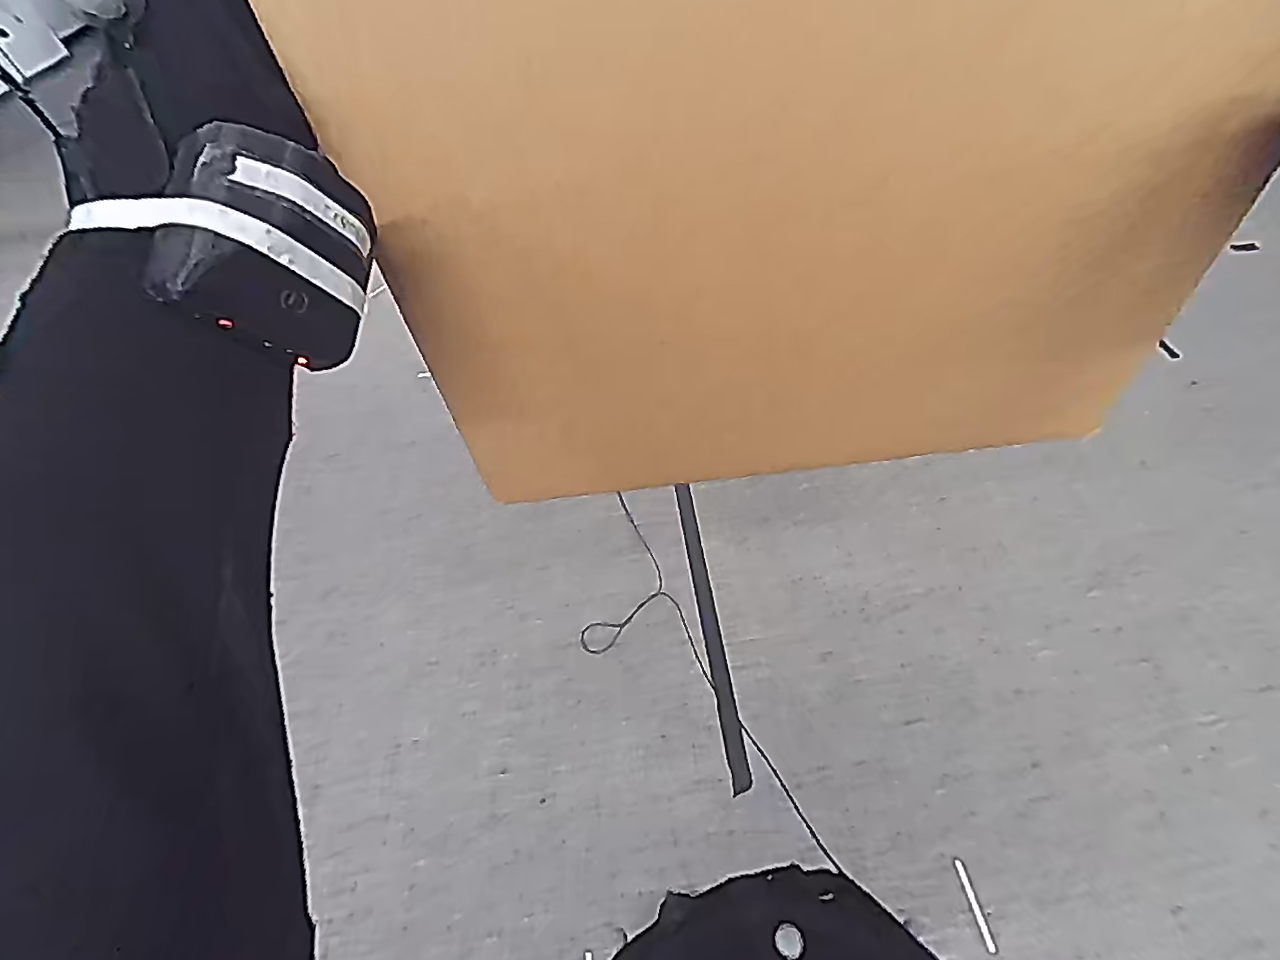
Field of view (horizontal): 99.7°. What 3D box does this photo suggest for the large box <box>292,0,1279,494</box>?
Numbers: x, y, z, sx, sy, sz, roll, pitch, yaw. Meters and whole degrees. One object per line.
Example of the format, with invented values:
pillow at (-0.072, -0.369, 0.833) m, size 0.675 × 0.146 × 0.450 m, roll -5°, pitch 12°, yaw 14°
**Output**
large box at (0.070, -0.221, 0.367) m, size 0.408 × 0.320 × 0.320 m, roll -7°, pitch 47°, yaw 1°
